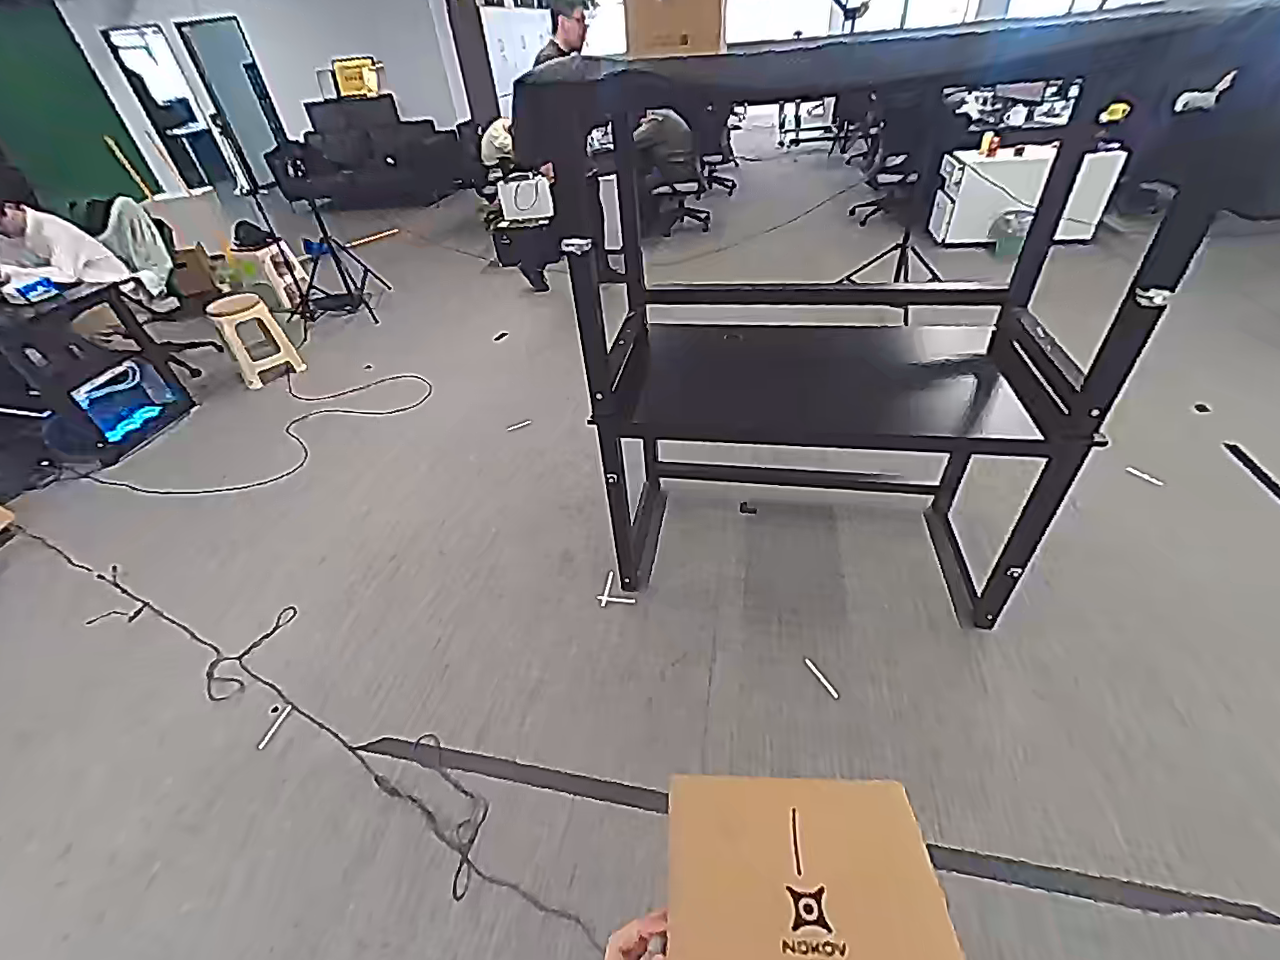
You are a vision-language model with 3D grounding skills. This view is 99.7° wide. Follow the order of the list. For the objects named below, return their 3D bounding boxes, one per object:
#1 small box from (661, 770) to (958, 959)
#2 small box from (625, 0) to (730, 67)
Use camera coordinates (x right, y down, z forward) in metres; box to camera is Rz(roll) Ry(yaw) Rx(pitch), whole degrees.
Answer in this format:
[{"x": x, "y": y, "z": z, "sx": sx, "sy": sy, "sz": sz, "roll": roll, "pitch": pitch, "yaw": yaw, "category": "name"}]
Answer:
[{"x": 0.100, "y": 0.325, "z": 0.357, "sx": 0.168, "sy": 0.176, "sz": 0.179, "roll": 0, "pitch": 32, "yaw": 5, "category": "small box"}, {"x": 0.070, "y": -0.839, "z": 0.951, "sx": 0.168, "sy": 0.176, "sz": 0.179, "roll": 4, "pitch": 38, "yaw": 10, "category": "small box"}]
